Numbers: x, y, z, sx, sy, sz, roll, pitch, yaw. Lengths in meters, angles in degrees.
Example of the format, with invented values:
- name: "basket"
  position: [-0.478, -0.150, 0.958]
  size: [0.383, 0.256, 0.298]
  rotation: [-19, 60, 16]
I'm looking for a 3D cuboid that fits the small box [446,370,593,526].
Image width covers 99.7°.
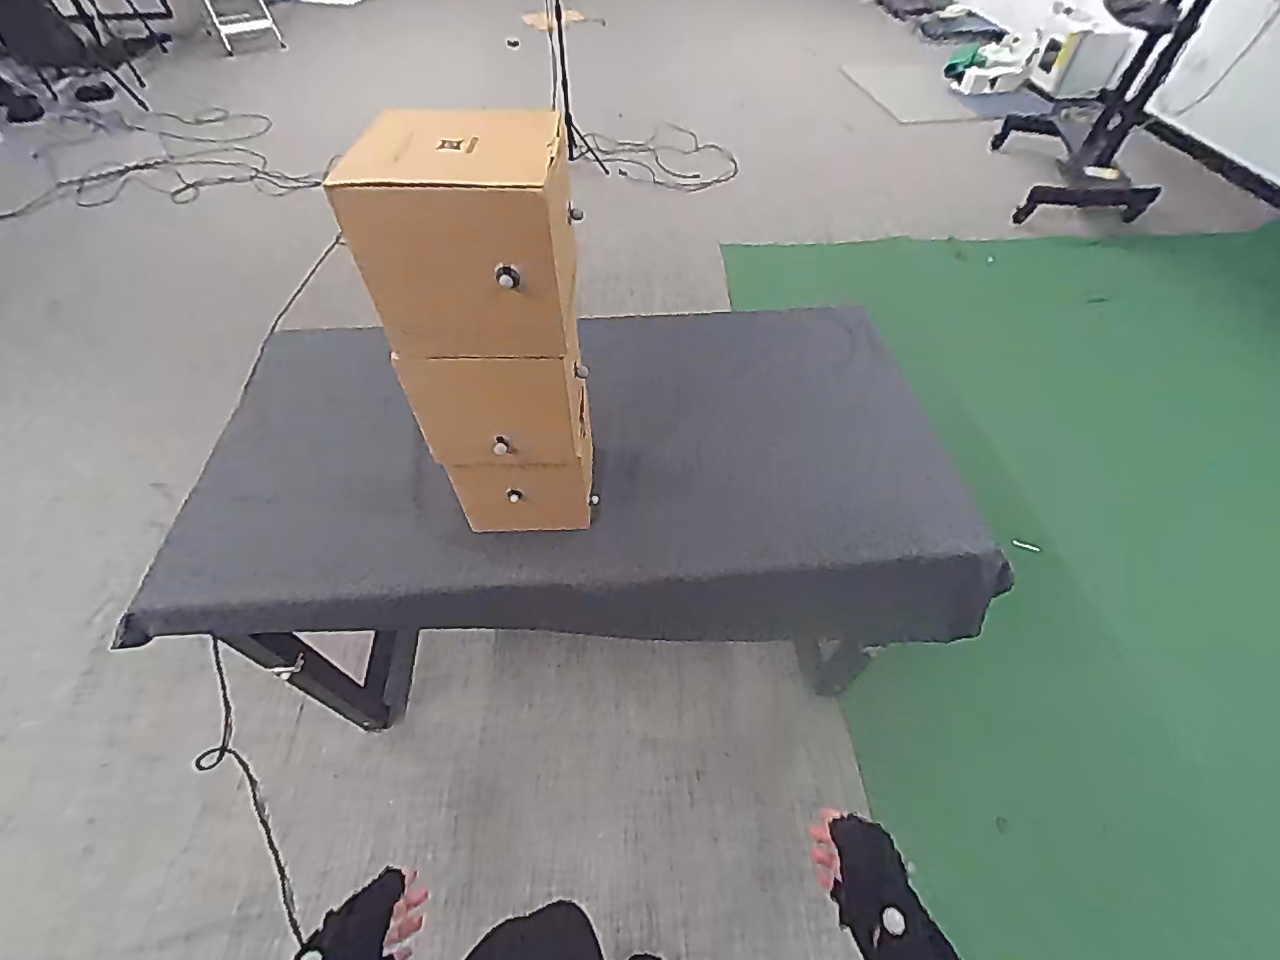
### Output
- name: "small box"
  position: [-0.162, -0.044, 0.795]
  size: [0.179, 0.176, 0.168]
  rotation: [-2, 52, -1]

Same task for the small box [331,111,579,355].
- name: "small box"
  position: [-0.155, -0.237, 0.533]
  size: [0.179, 0.176, 0.168]
  rotation: [-1, 51, 0]

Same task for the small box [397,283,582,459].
- name: "small box"
  position: [-0.164, -0.138, 0.661]
  size: [0.179, 0.176, 0.168]
  rotation: [0, 51, -2]
